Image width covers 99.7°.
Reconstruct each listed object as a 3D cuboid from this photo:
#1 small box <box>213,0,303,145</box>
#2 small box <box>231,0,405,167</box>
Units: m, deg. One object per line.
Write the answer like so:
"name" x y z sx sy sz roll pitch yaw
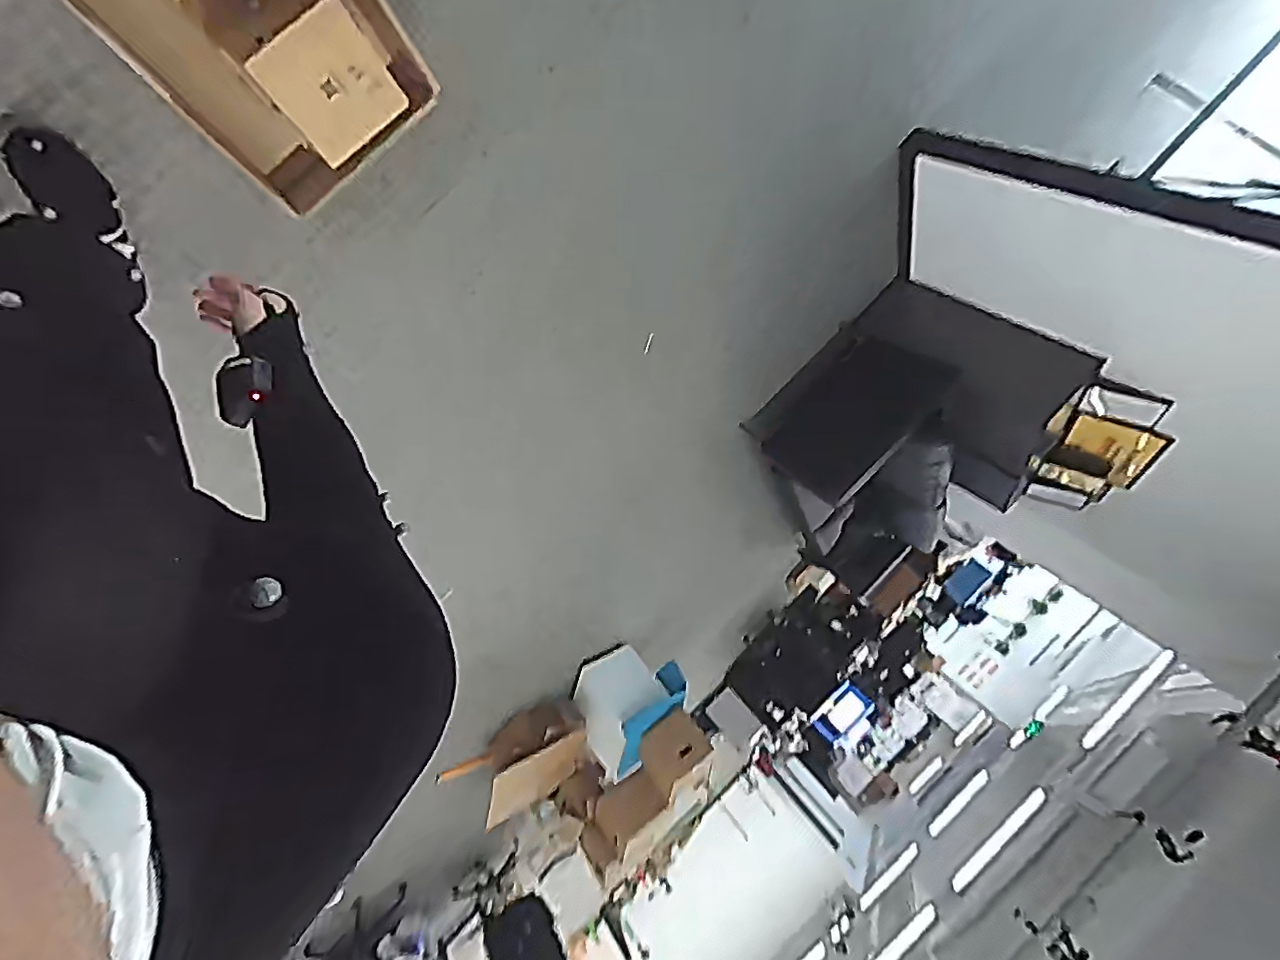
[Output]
"small box" -0.638 -0.760 0.989 0.179 0.176 0.168 -43 146 -4
"small box" -0.537 -0.666 0.898 0.179 0.176 0.168 -43 145 -4
